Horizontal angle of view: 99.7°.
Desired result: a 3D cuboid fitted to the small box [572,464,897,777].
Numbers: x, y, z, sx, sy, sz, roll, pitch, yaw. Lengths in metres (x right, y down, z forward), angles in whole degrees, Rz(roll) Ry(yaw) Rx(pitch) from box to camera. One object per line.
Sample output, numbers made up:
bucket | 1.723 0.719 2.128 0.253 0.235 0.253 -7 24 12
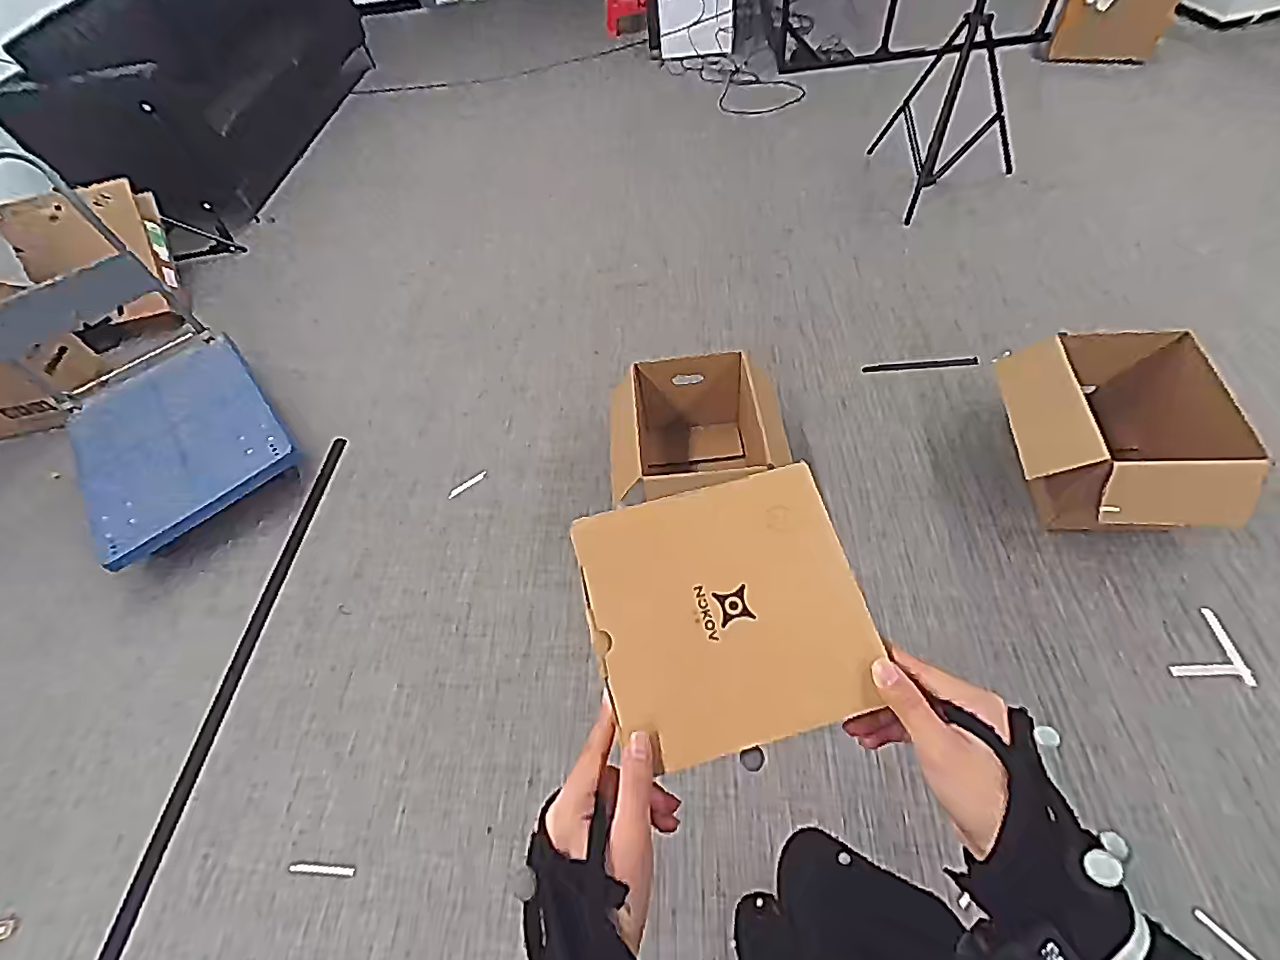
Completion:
small box | 0.057 0.109 0.425 0.179 0.176 0.168 -15 69 -3
